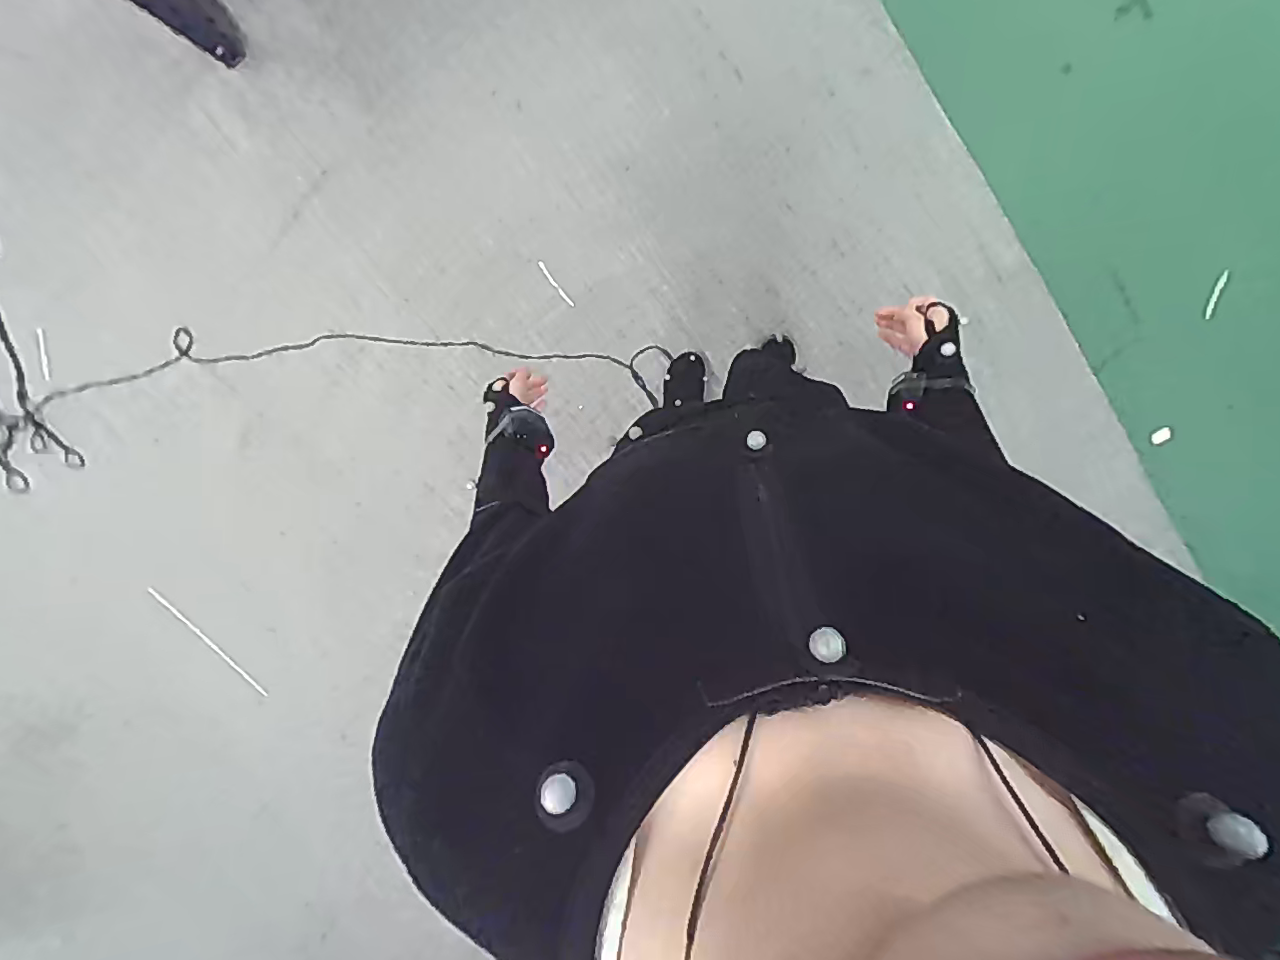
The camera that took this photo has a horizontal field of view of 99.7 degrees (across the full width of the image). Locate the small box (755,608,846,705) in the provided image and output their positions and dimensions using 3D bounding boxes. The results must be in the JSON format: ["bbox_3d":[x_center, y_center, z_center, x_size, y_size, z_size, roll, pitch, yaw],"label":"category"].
[{"bbox_3d":[0.447,0.490,1.538,0.168,0.176,0.179,-32,102,9],"label":"small box"}]
